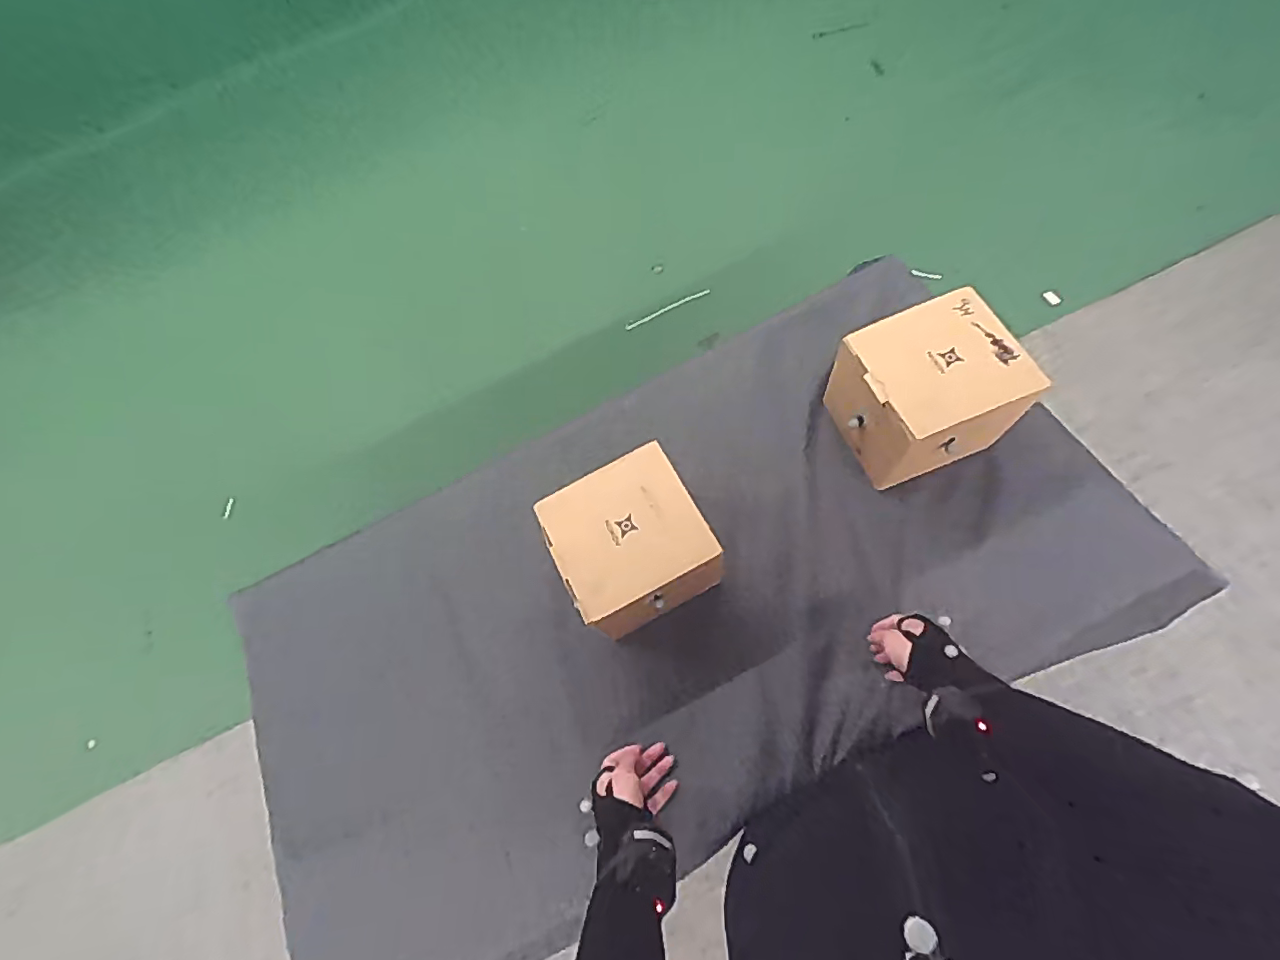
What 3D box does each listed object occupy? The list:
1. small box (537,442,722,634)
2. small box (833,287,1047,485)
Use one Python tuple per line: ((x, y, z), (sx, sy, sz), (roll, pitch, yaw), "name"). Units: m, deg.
((-0.006, 0.085, 0.710), (0.179, 0.176, 0.168), (-28, 68, -4), "small box")
((0.377, -0.114, 0.726), (0.179, 0.176, 0.168), (-22, 67, 1), "small box")
